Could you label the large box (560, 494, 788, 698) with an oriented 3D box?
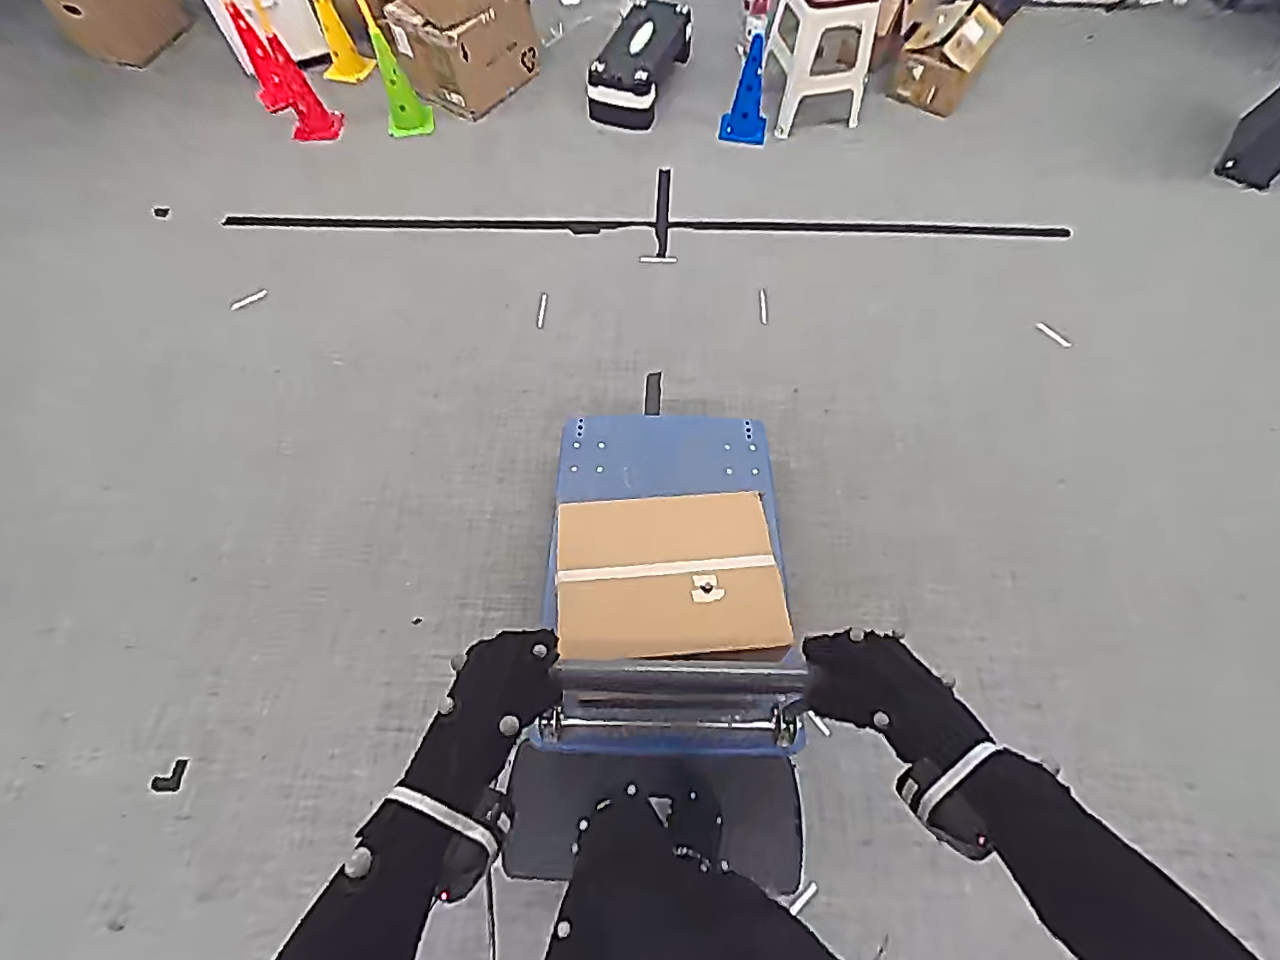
[{"bbox_3d":[0.048,0.252,1.141,0.408,0.320,0.320,-4,58,-3],"label":"large box"}]
